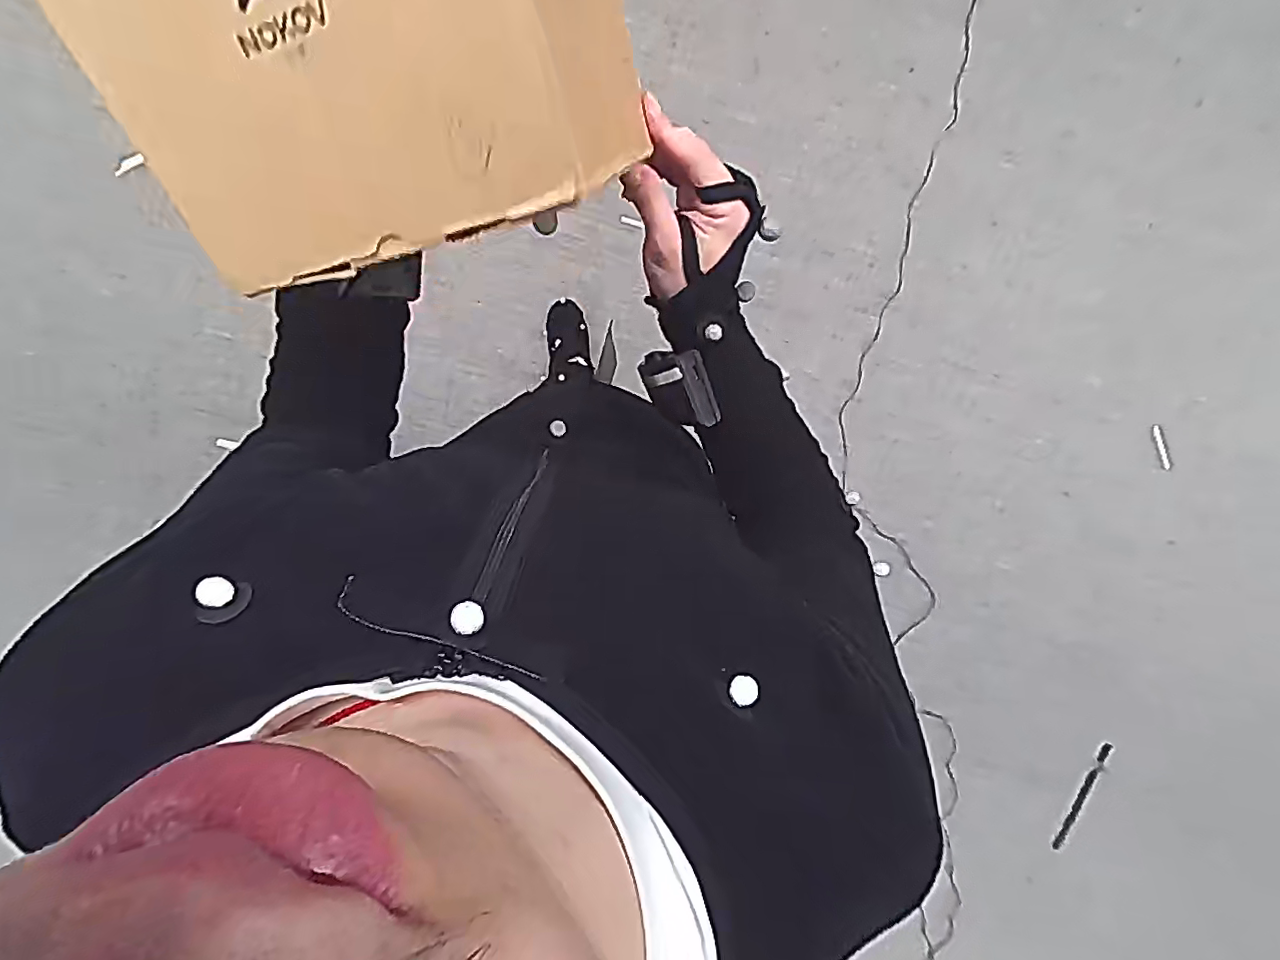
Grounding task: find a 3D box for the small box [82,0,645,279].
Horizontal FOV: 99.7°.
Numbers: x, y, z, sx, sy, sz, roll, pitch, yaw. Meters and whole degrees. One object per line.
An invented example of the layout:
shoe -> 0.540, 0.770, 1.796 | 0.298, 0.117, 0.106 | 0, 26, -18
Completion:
small box -> -0.102, -0.214, 0.242 | 0.168, 0.176, 0.179 | -8, 122, 15
